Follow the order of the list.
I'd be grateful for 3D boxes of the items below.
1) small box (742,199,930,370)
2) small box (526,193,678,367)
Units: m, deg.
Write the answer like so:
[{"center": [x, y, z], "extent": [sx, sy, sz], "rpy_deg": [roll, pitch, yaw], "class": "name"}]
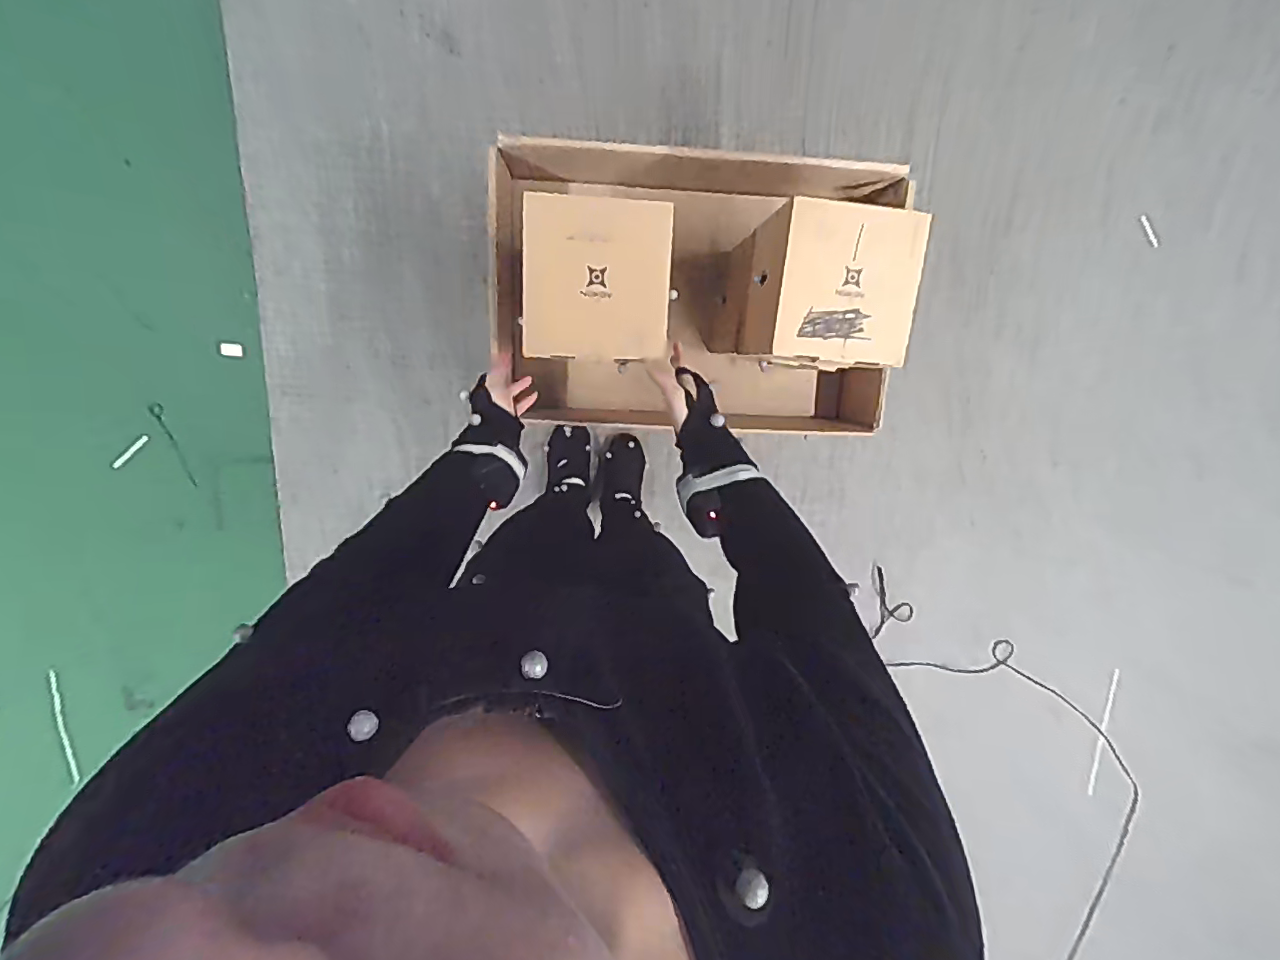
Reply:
[{"center": [0.239, -0.242, 0.708], "extent": [0.168, 0.176, 0.179], "rpy_deg": [4, 102, -6], "class": "small box"}, {"center": [-0.050, -0.240, 0.686], "extent": [0.168, 0.176, 0.179], "rpy_deg": [2, 102, -5], "class": "small box"}]
